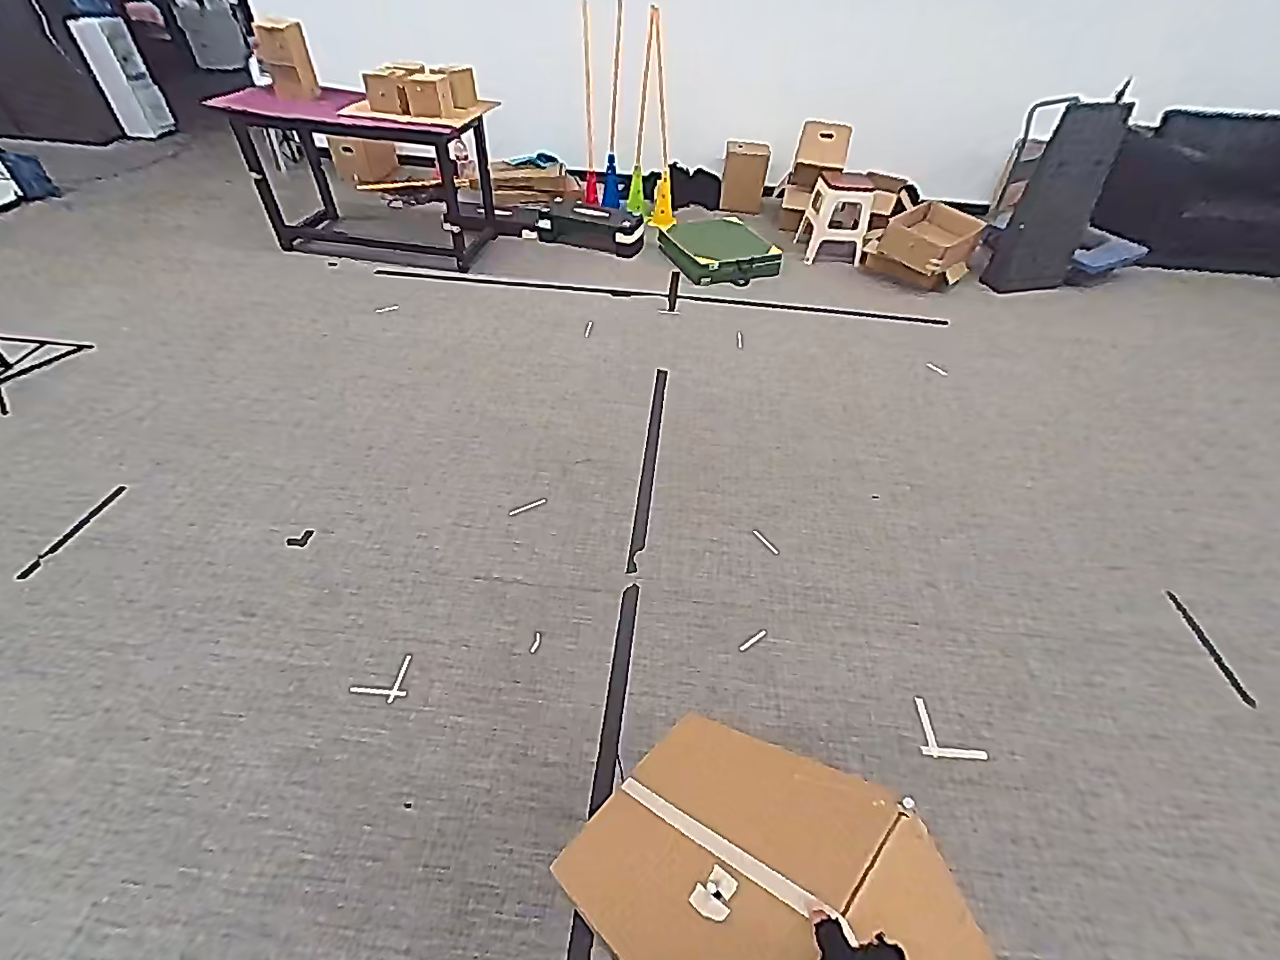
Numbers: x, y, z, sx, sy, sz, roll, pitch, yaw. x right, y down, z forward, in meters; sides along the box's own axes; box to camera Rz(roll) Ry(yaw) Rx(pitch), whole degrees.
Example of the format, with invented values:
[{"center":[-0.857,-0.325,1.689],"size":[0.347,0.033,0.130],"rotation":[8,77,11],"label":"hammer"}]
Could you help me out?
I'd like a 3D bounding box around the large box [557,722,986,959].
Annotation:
[{"center":[0.161,0.590,0.710],"size":[0.320,0.408,0.320],"rotation":[-36,102,-30],"label":"large box"}]
